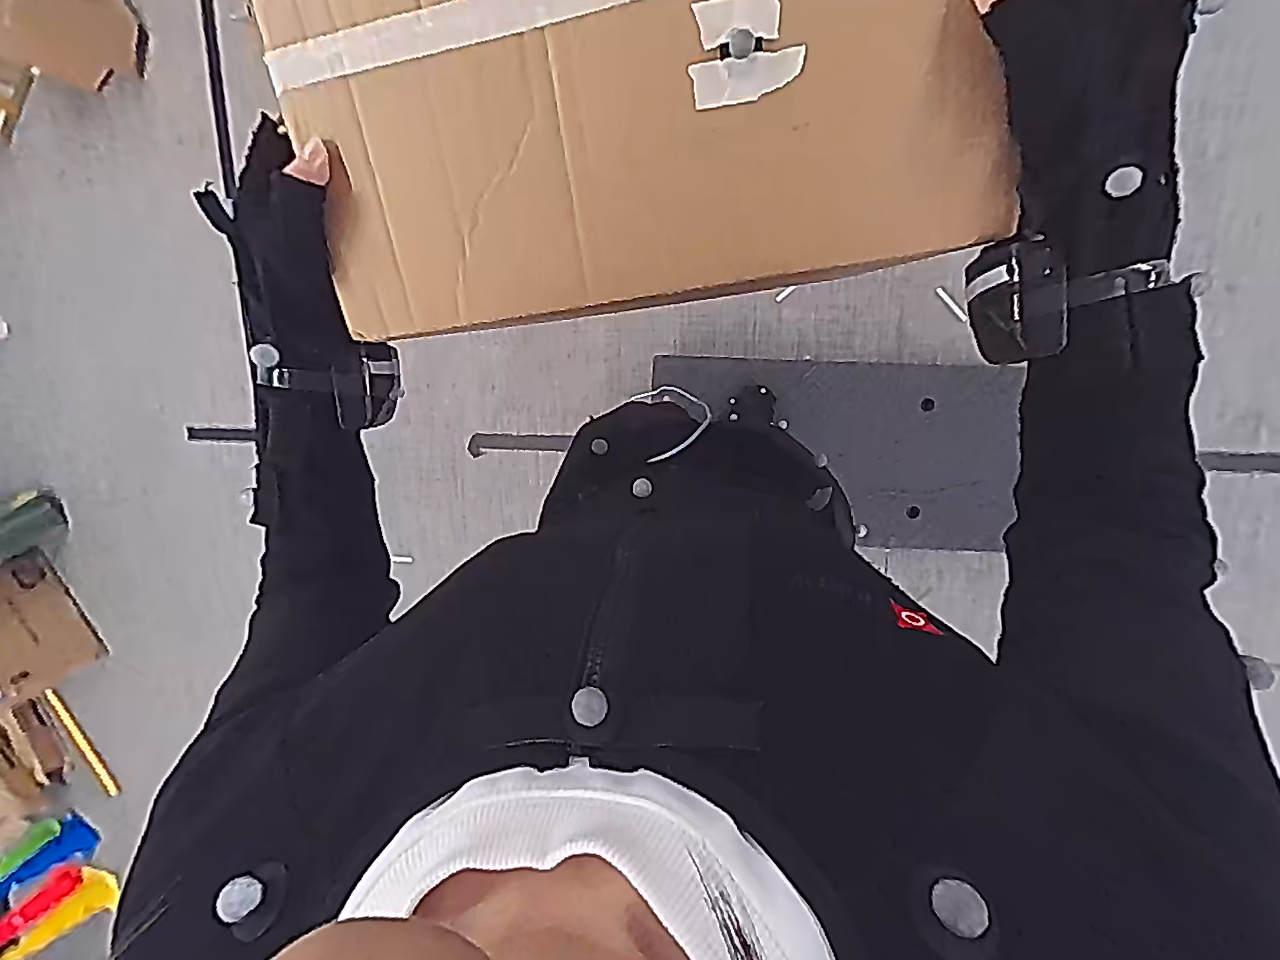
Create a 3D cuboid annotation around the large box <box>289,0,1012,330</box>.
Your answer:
[{"bbox_3d":[0.008,-0.314,0.438,0.408,0.320,0.320,-6,107,9],"label":"large box"}]

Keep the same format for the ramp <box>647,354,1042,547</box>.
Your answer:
[{"bbox_3d":[0.522,-0.074,1.427,0.991,0.206,0.509,2,99,11],"label":"ramp"}]
